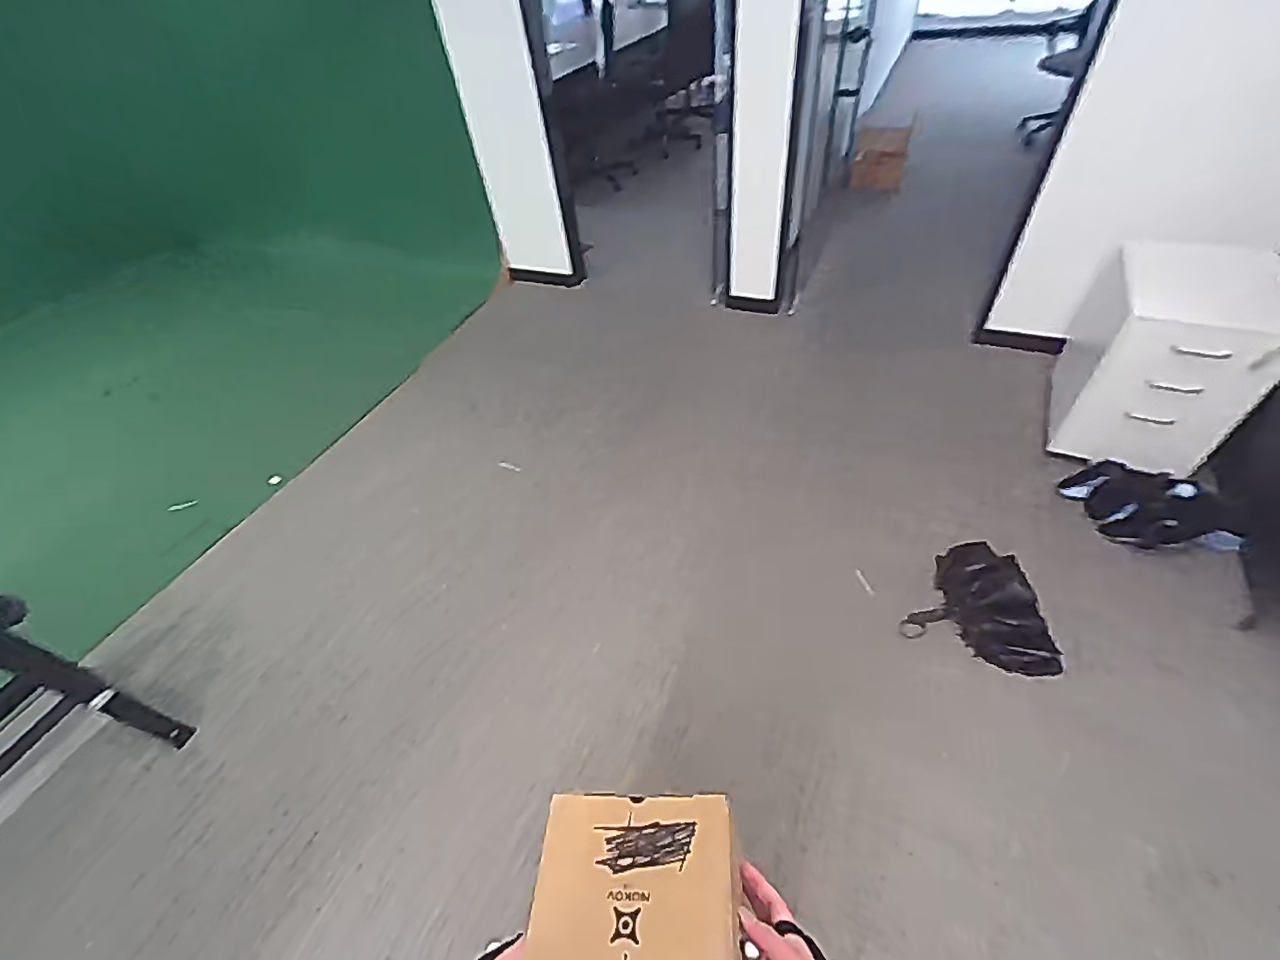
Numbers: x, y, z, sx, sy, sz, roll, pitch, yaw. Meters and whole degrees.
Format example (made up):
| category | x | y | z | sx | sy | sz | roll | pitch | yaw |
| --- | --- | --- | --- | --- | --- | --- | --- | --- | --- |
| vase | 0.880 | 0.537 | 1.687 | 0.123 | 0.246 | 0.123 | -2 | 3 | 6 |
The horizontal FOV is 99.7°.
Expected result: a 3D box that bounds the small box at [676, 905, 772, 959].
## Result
| category | x | y | z | sx | sy | sz | roll | pitch | yaw |
| --- | --- | --- | --- | --- | --- | --- | --- | --- | --- |
| small box | 0.155 | 1.009 | 1.088 | 0.168 | 0.176 | 0.179 | 24 | 55 | 28 |
